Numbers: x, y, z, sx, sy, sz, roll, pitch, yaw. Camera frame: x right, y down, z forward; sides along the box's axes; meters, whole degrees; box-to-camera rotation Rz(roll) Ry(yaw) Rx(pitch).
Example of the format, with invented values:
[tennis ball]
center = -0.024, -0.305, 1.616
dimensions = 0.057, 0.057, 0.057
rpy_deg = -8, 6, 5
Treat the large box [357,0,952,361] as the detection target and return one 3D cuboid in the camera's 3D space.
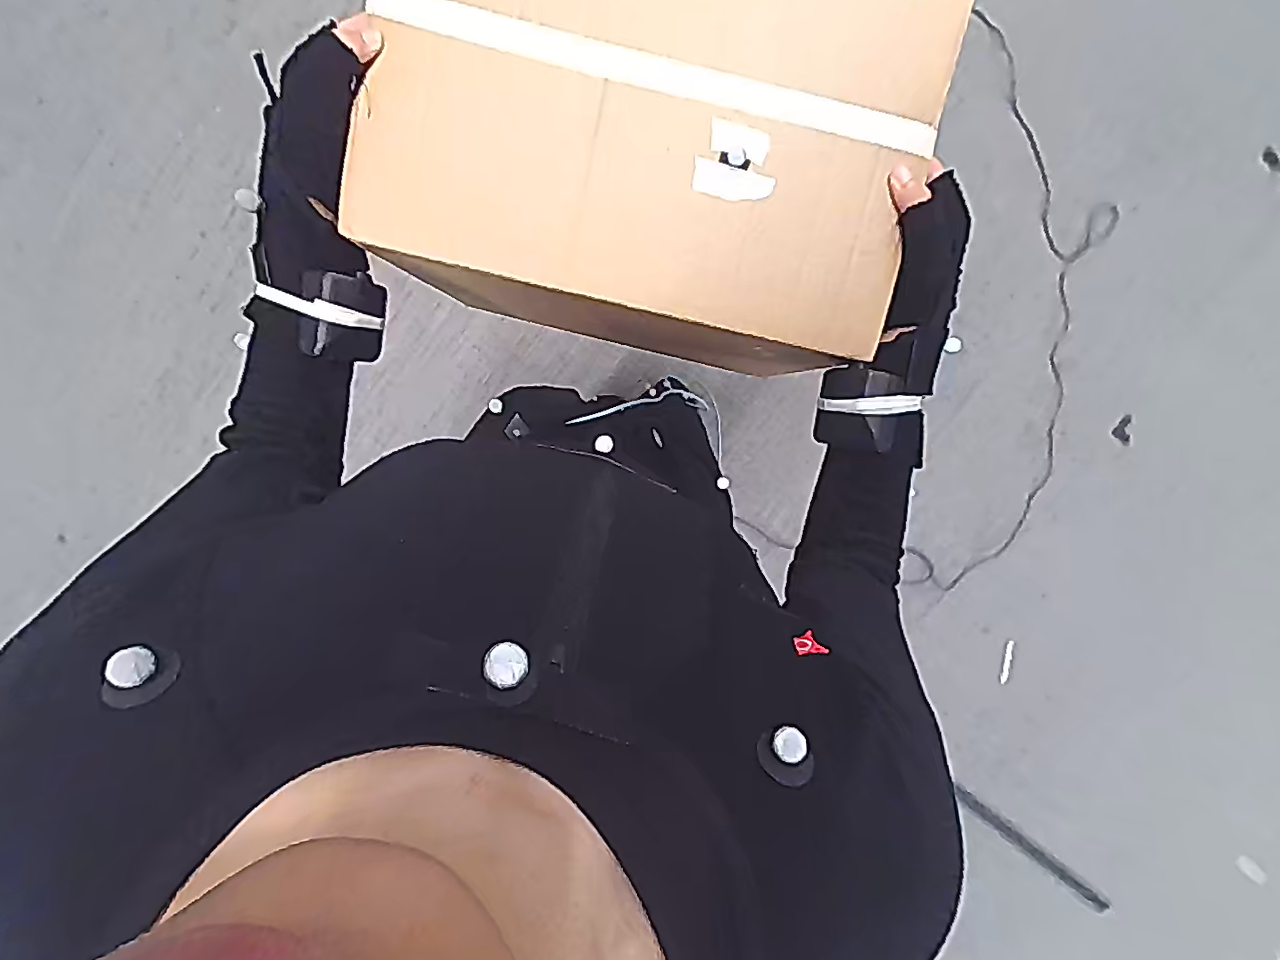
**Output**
[large box]
center = 0.005, -0.315, 0.535
dimensions = 0.408, 0.320, 0.320
rpy_deg = 11, 99, -4
